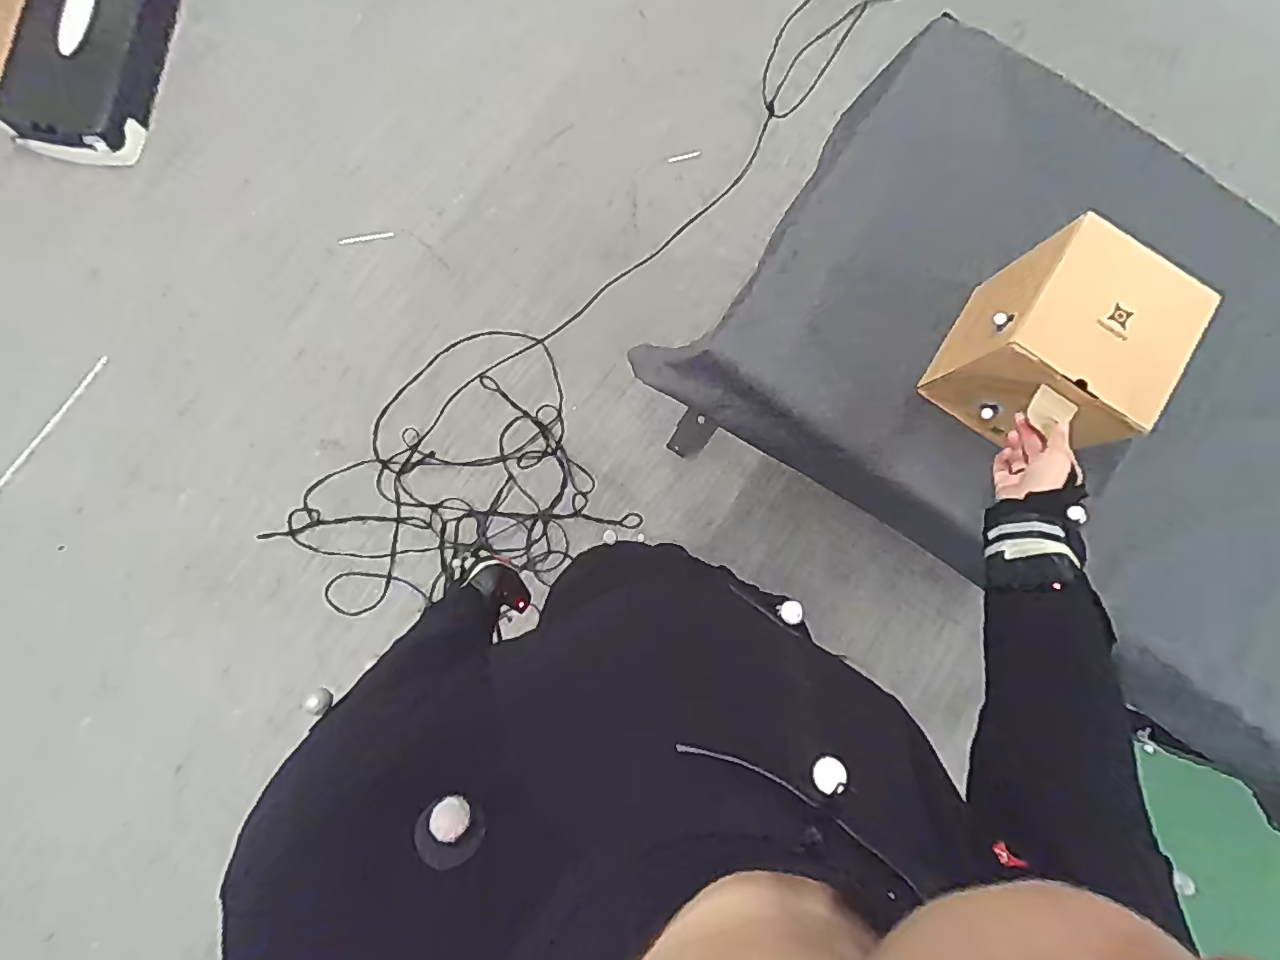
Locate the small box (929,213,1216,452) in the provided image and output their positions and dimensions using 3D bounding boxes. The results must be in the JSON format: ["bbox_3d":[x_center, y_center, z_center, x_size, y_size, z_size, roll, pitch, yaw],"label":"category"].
[{"bbox_3d":[0.480,-0.155,0.628,0.168,0.176,0.179,33,82,0],"label":"small box"}]
